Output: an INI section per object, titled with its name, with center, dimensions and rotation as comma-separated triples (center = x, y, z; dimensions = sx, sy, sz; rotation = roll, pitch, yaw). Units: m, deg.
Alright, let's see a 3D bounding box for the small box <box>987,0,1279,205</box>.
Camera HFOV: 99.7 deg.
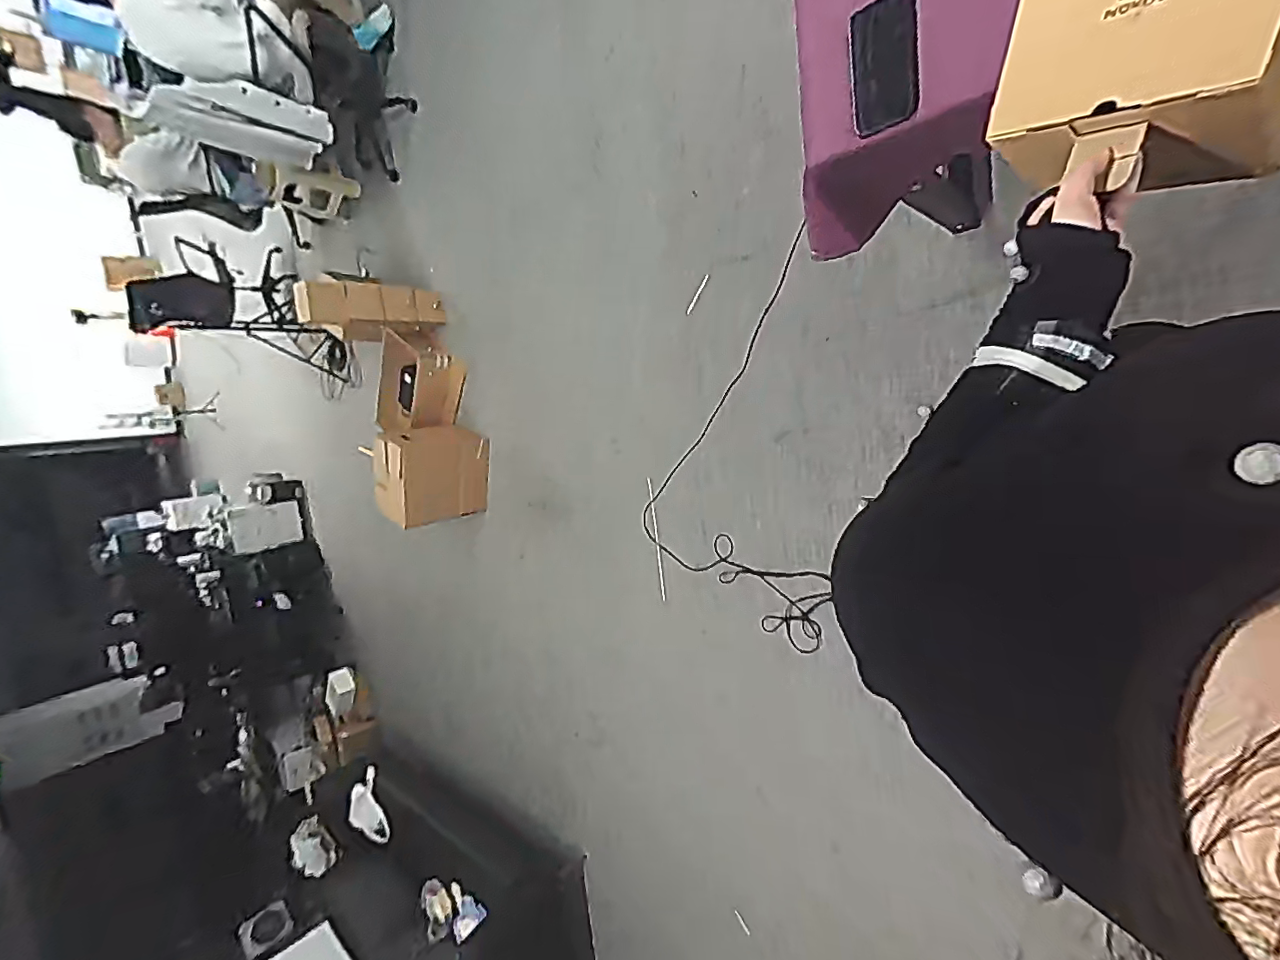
[small box]
center = 0.430, -0.356, 0.450
dimensions = 0.168, 0.176, 0.179
rotation = 23, 108, 50
